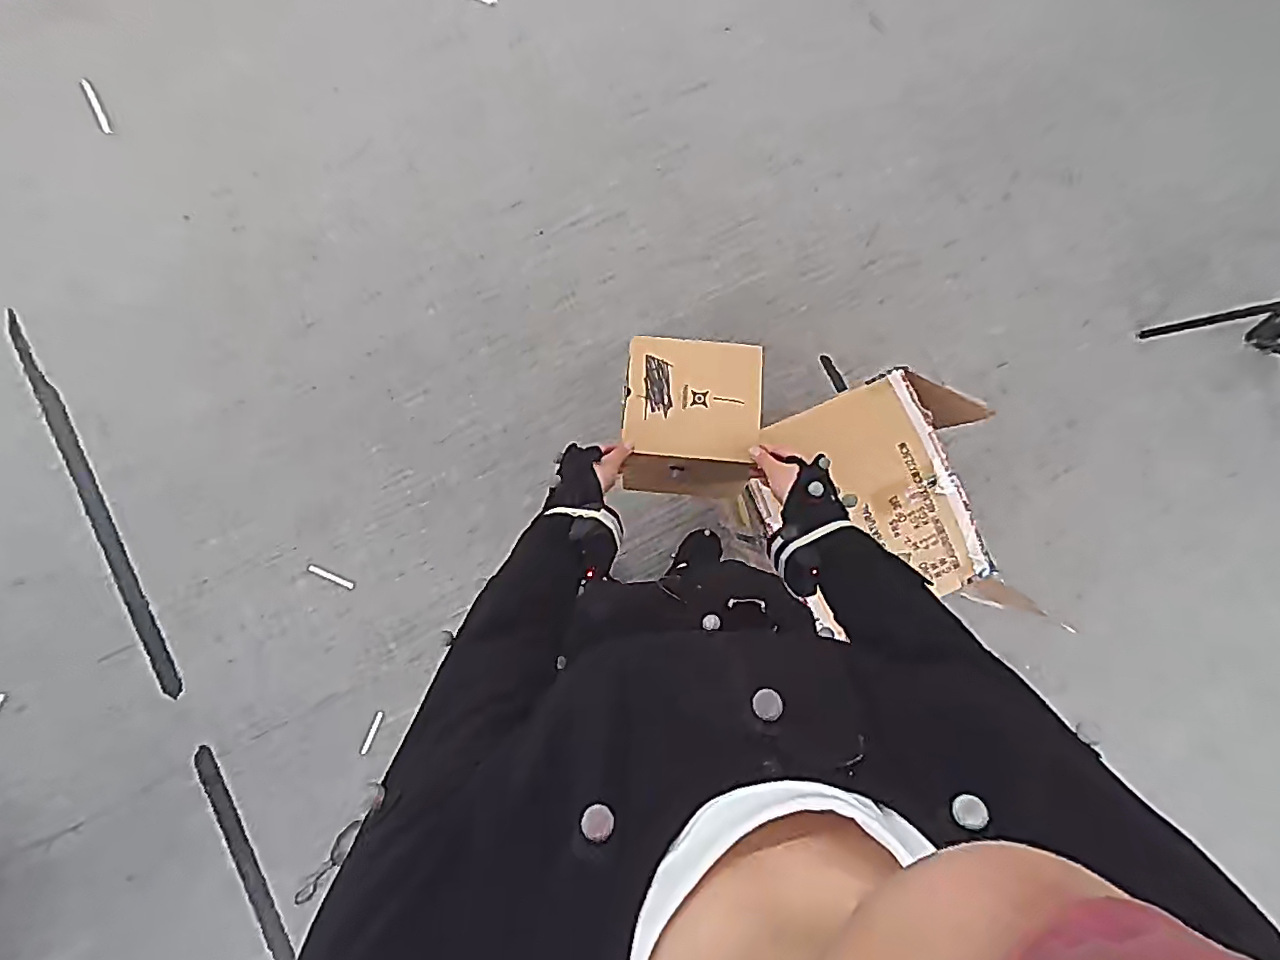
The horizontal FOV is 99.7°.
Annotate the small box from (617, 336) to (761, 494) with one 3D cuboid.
[{"bbox_3d":[0.065,-0.083,0.762,0.179,0.176,0.168,5,73,1],"label":"small box"}]
